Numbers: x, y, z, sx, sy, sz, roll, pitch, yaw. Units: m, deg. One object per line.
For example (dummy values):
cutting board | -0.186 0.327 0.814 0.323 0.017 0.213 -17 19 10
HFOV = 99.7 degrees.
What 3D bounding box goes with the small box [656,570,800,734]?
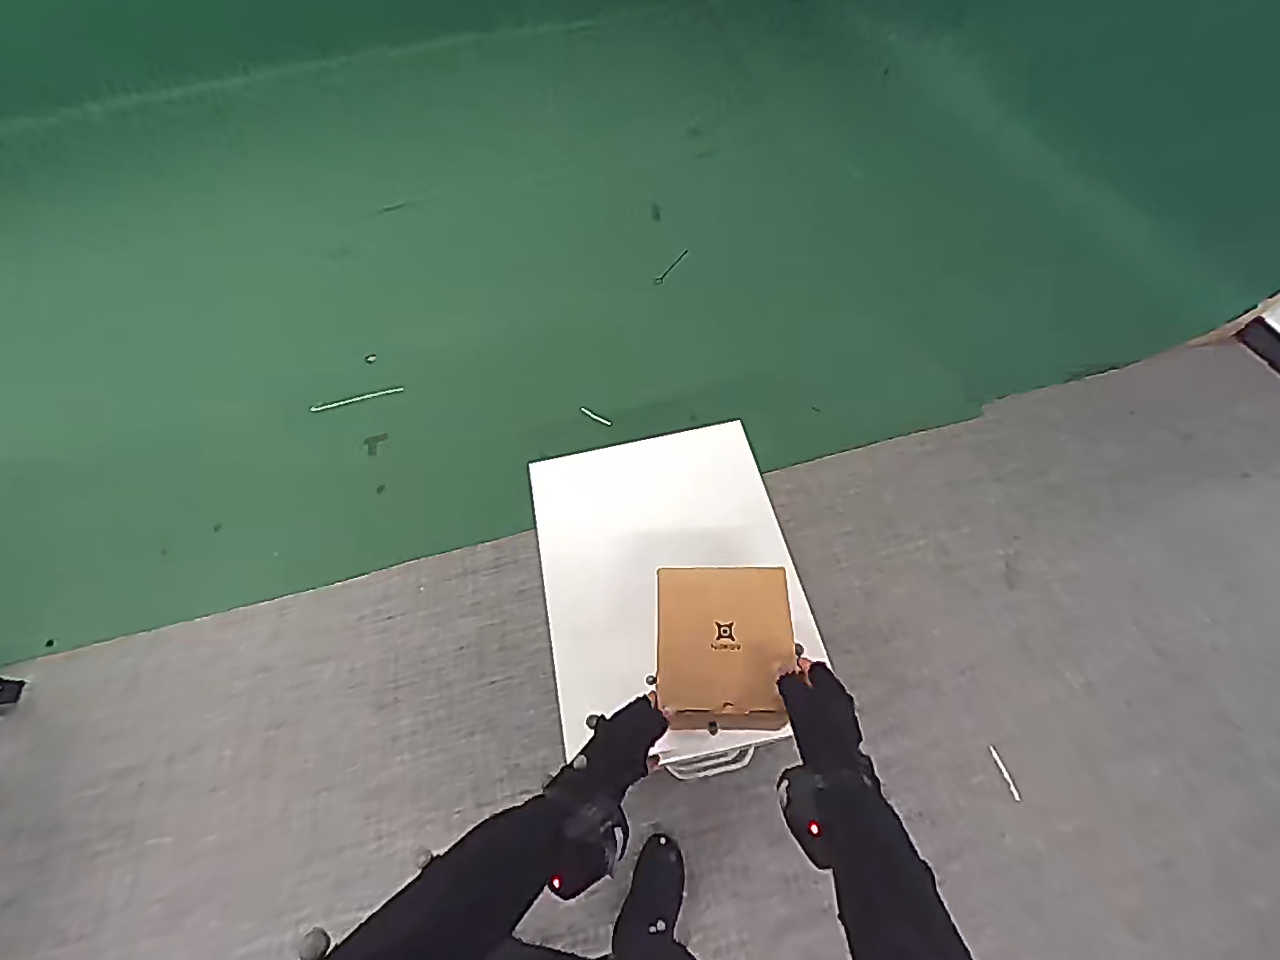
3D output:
small box | 0.104 0.232 0.719 0.168 0.176 0.179 -1 60 3
